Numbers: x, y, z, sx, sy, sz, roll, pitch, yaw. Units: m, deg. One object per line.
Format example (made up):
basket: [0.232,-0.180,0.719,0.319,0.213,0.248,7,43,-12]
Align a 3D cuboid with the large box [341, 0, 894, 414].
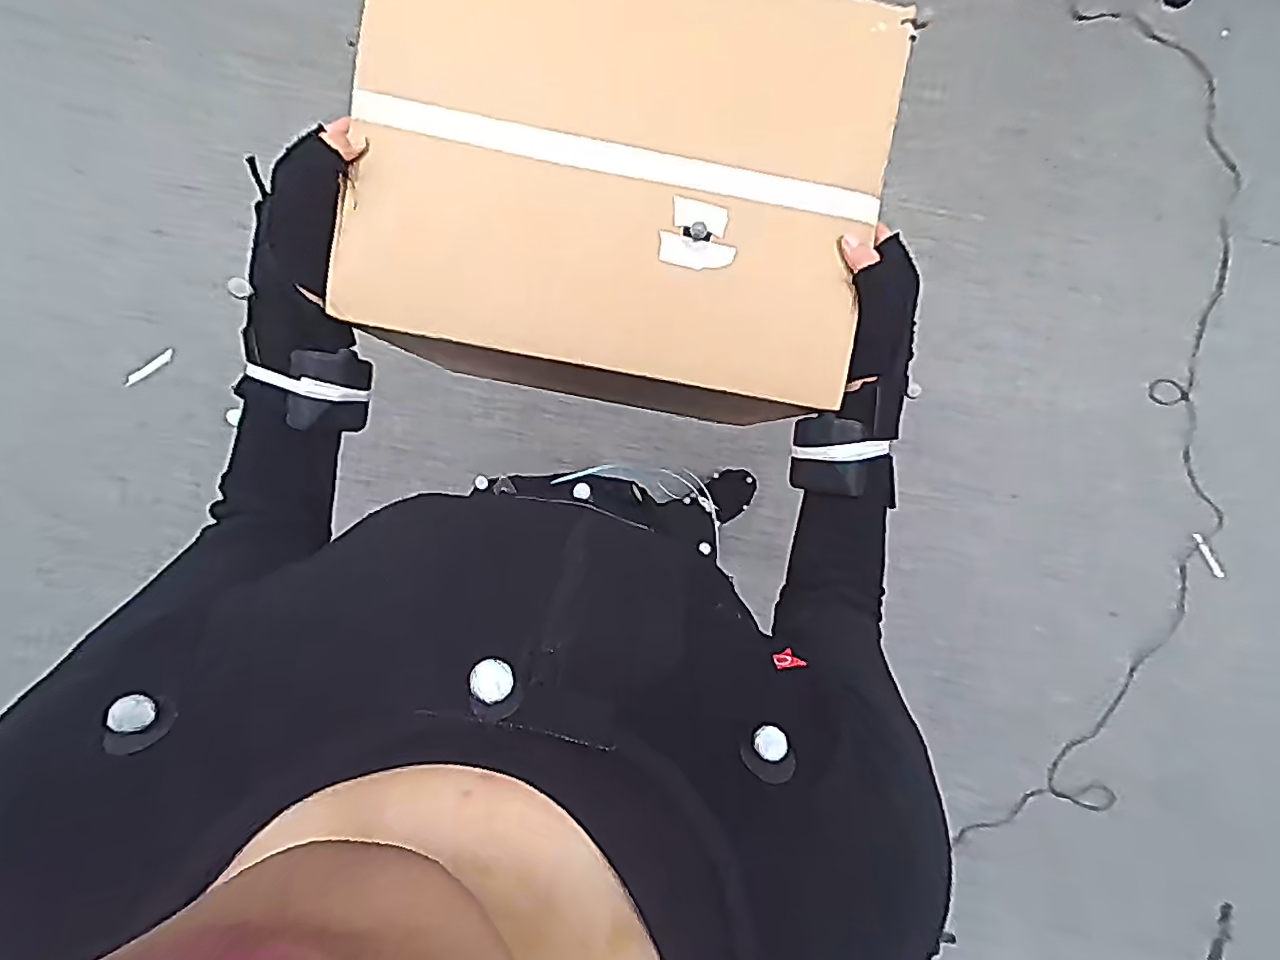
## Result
large box: [-0.025,-0.260,0.572,0.408,0.320,0.320,10,94,-4]
